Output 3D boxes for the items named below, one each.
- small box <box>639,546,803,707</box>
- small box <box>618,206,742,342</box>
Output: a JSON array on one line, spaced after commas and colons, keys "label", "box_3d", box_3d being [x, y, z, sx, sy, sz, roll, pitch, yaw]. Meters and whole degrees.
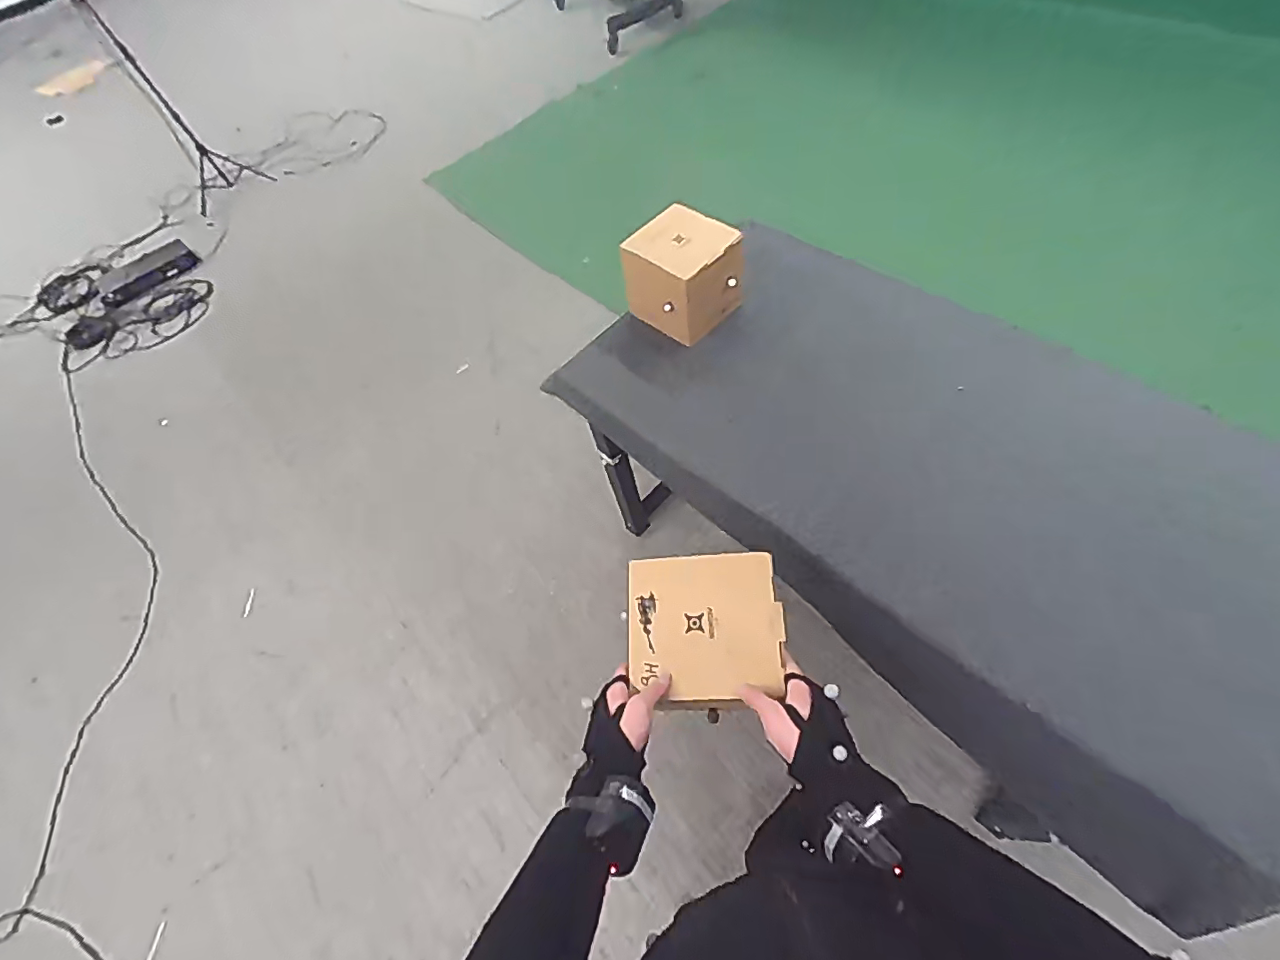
[{"label": "small box", "box_3d": [0.093, 0.189, 0.678, 0.179, 0.176, 0.168, -3, 63, 6]}, {"label": "small box", "box_3d": [0.081, -0.403, 1.074, 0.179, 0.176, 0.168, 36, 67, 26]}]
